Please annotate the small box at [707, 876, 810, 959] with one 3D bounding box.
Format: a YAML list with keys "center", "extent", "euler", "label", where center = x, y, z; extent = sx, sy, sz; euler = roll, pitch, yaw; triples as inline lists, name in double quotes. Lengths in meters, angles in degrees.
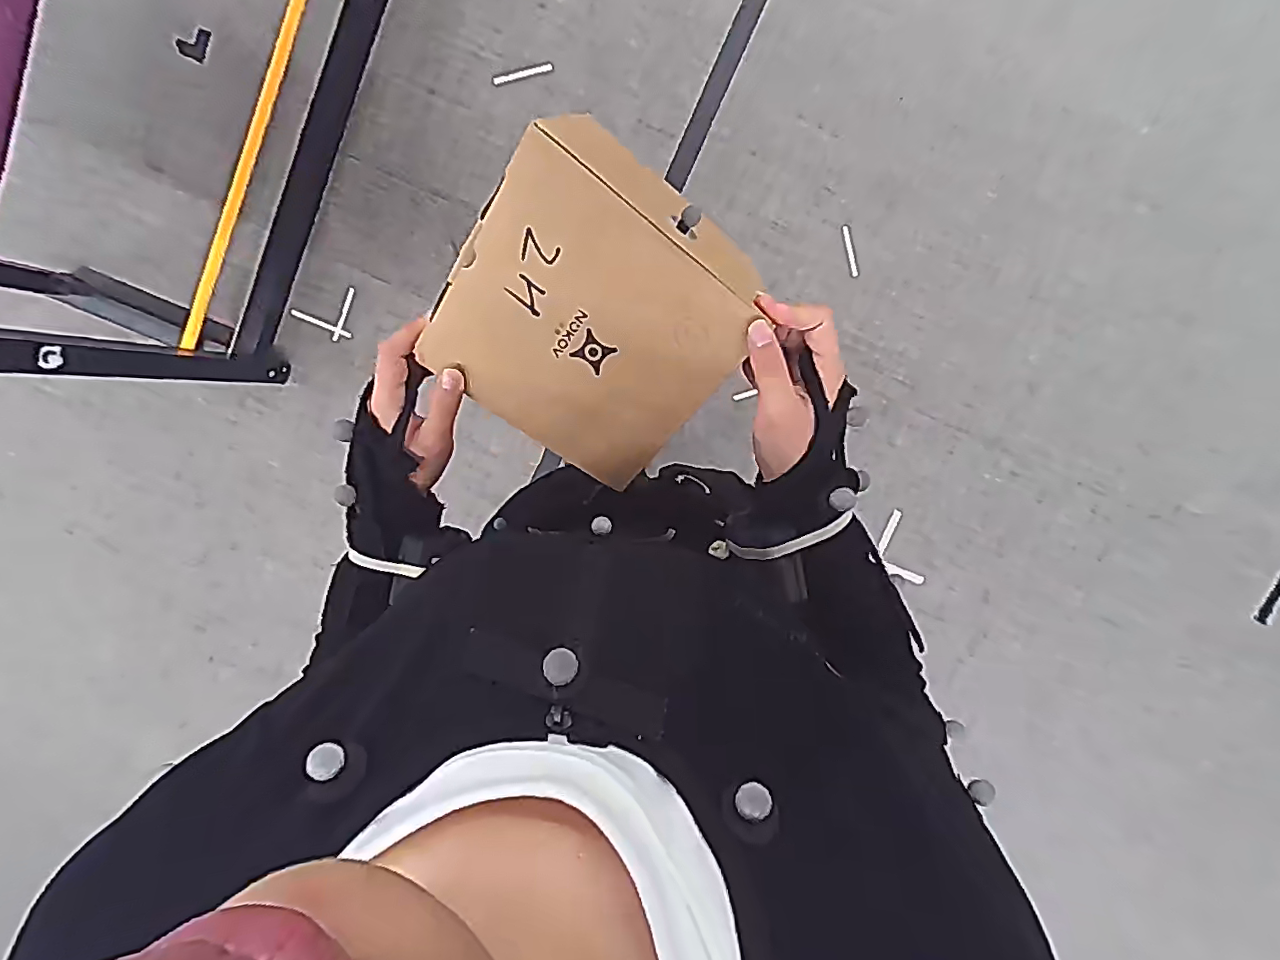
- center: [0.266, 1.076, 1.264]
  extent: [0.179, 0.176, 0.168]
  euler: [16, 98, -3]
  label: "small box"

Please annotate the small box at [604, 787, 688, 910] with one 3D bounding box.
- center: [0.016, 0.953, 1.410]
  extent: [0.168, 0.176, 0.179]
  euler: [20, 97, -4]
  label: "small box"
